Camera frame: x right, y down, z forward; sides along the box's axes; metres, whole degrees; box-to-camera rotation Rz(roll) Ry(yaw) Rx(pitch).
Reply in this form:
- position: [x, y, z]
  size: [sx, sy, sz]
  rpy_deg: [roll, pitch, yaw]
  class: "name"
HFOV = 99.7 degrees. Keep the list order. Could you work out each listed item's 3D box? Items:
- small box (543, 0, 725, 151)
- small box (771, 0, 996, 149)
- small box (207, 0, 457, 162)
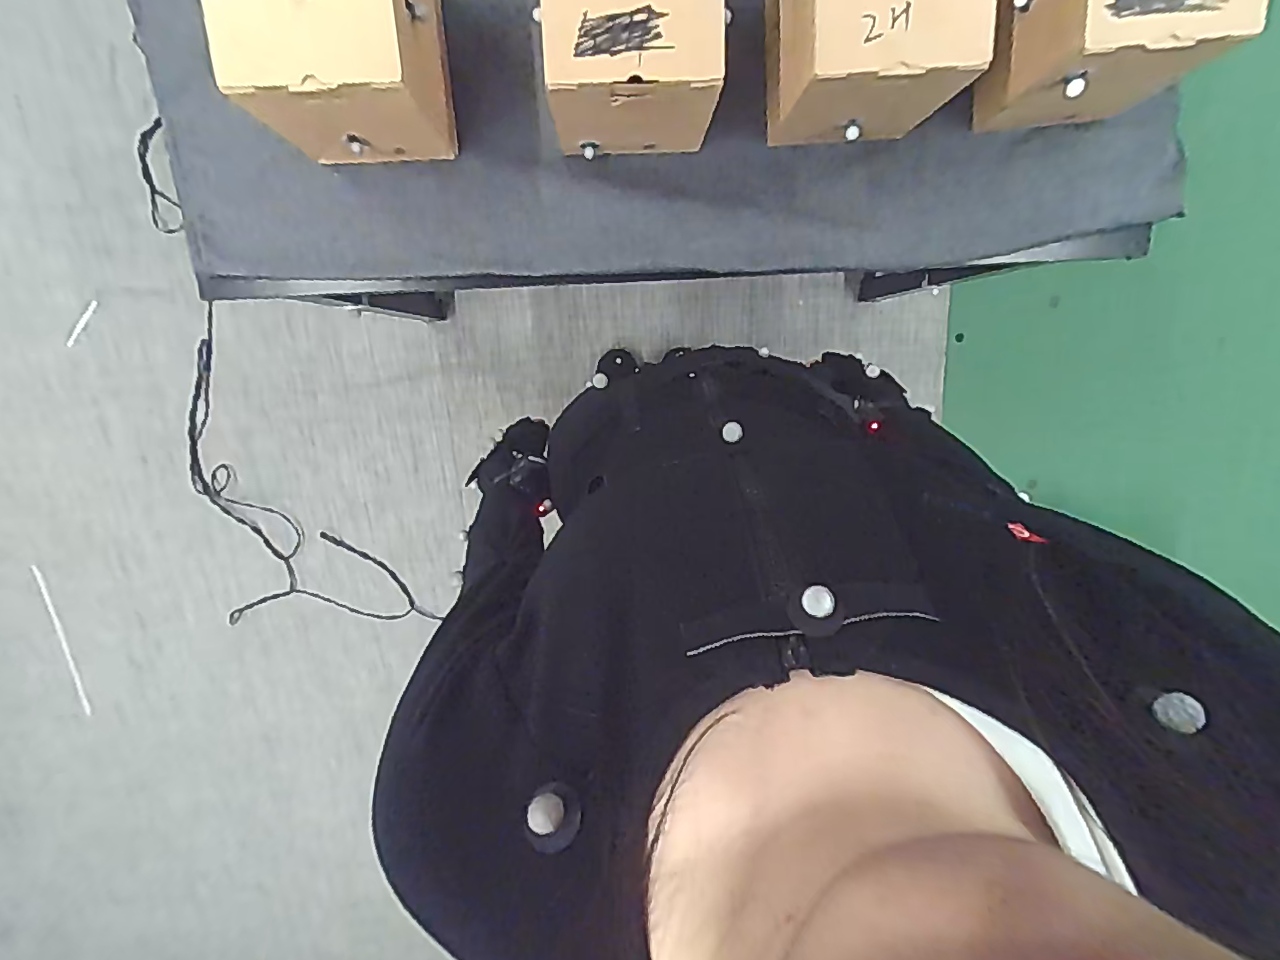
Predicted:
- position: [-0.007, -0.457, 0.553]
  size: [0.168, 0.176, 0.179]
  rpy_deg: [-2, 102, -2]
  class: "small box"
- position: [0.235, -0.472, 0.557]
  size: [0.168, 0.176, 0.179]
  rpy_deg: [-4, 102, 0]
  class: "small box"
- position: [-0.295, -0.448, 0.544]
  size: [0.168, 0.176, 0.179]
  rpy_deg: [-4, 102, -2]
  class: "small box"
